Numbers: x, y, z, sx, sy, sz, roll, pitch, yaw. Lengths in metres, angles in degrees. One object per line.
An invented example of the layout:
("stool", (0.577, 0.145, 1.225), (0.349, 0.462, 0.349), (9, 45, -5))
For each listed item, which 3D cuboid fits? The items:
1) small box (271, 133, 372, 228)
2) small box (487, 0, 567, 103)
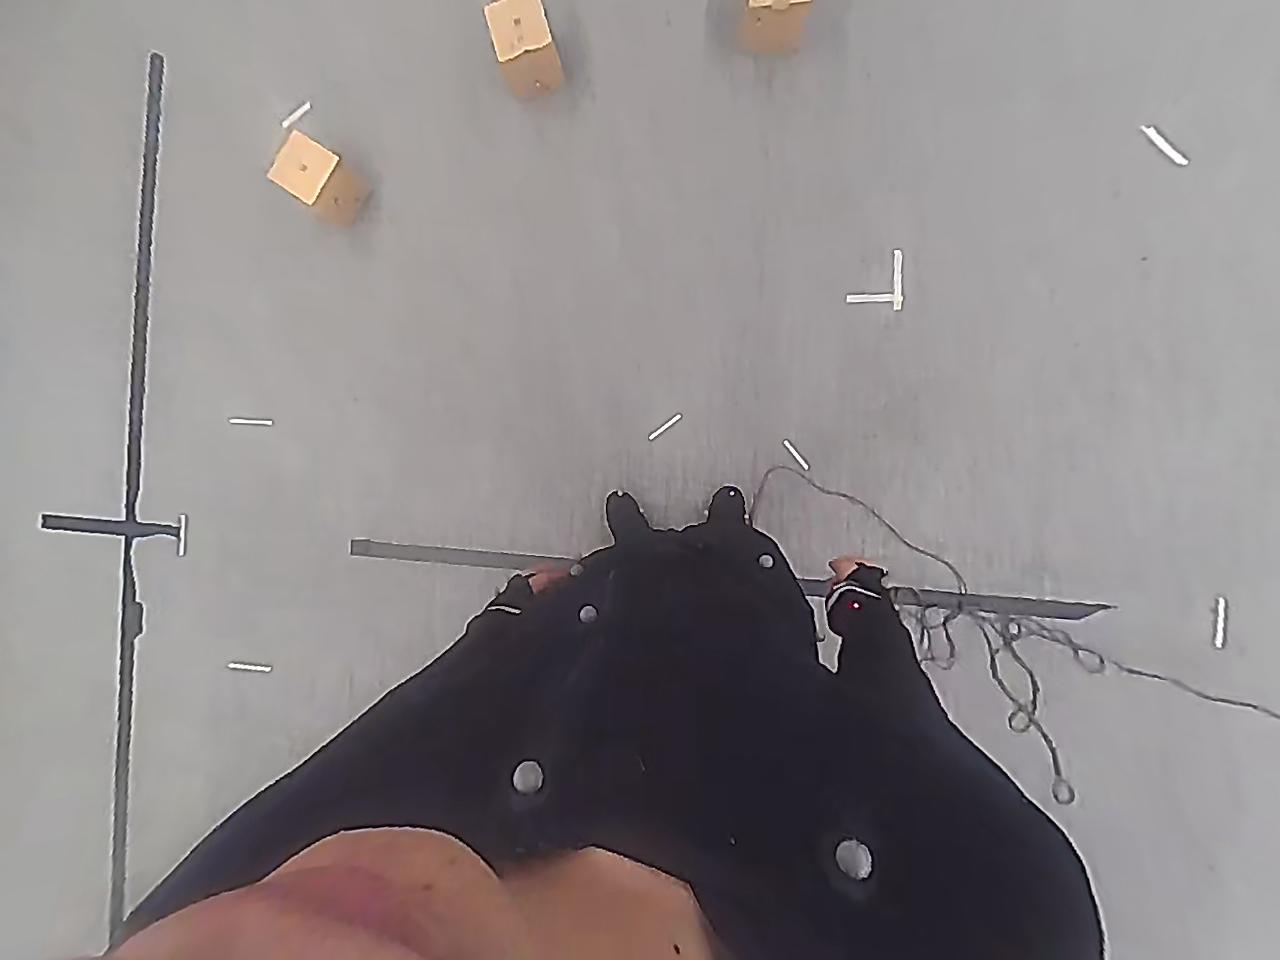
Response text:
("small box", (-0.974, -0.912, 1.671), (0.179, 0.176, 0.168), (34, 93, 6))
("small box", (-0.332, -1.282, 1.610), (0.168, 0.176, 0.179), (-16, 88, 6))
